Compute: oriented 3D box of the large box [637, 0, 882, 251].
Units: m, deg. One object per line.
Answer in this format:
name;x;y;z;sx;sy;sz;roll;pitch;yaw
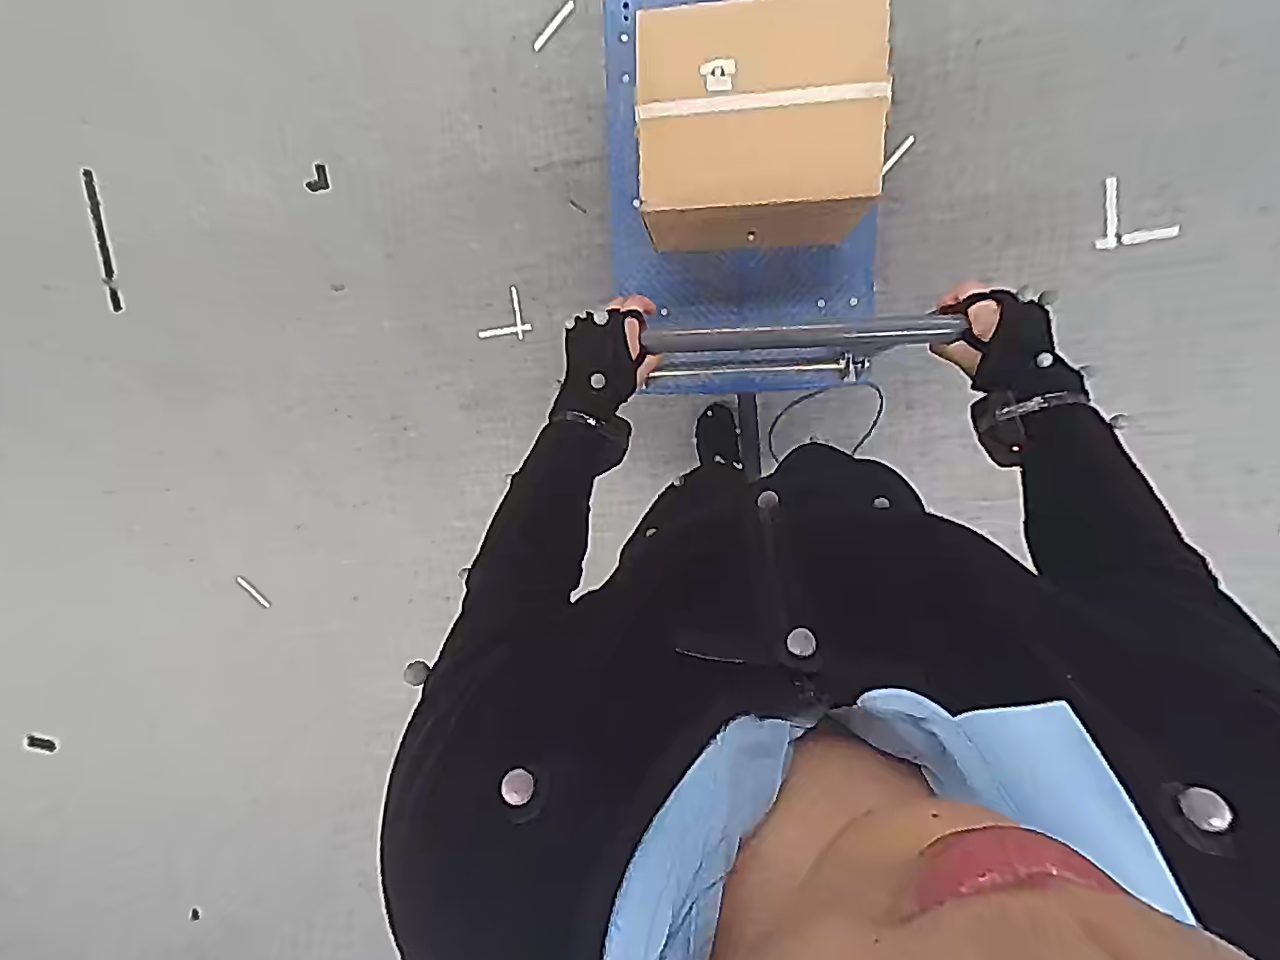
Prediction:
large box;0.219;-0.653;1.054;0.408;0.320;0.320;0;99;8
